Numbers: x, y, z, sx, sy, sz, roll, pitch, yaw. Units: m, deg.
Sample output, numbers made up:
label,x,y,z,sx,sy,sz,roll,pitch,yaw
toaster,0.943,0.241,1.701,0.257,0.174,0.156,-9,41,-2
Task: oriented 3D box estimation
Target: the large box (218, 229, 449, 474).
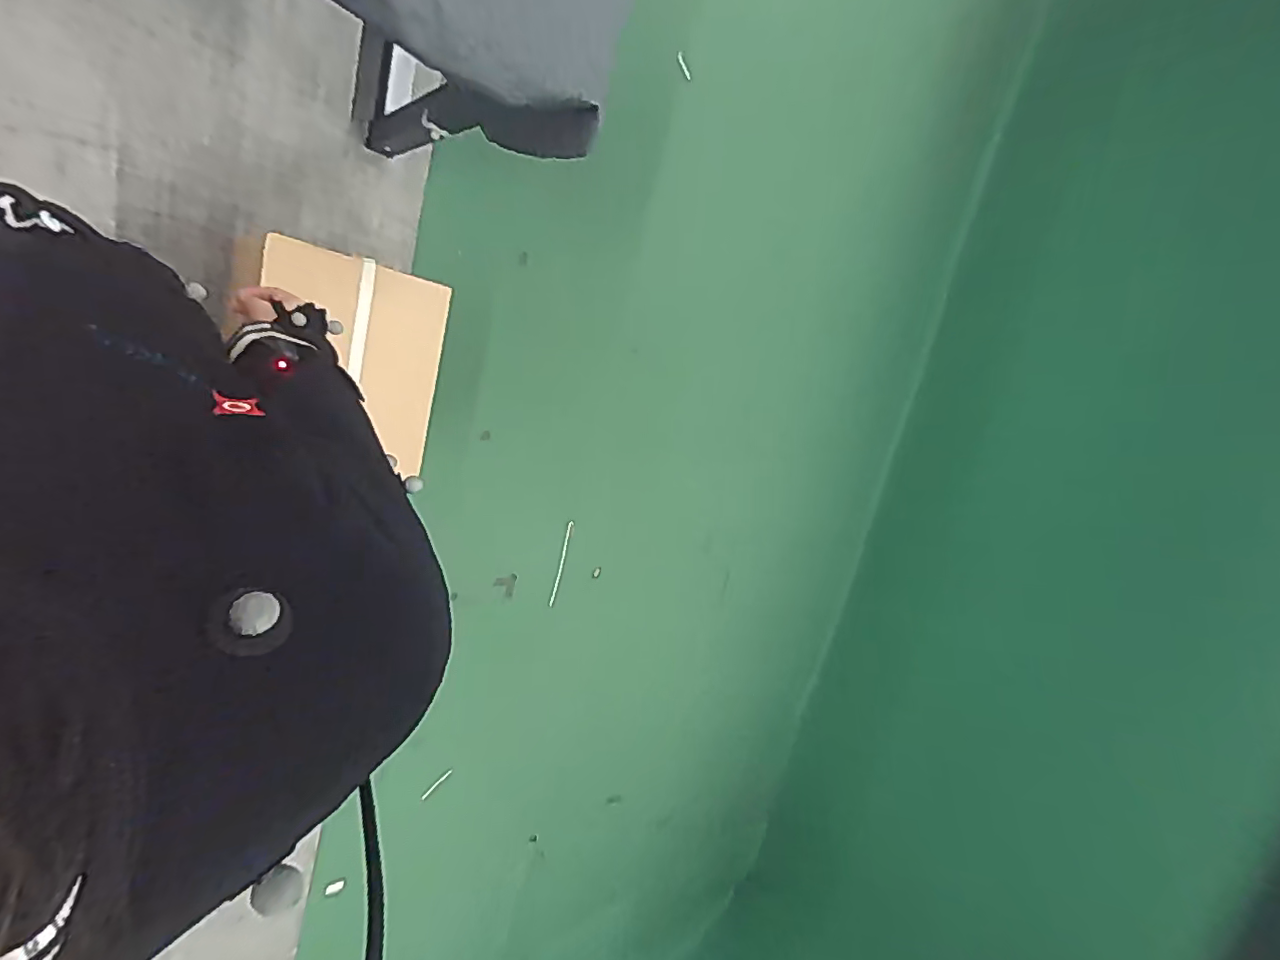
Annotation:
label,x,y,z,sx,sy,sz,roll,pitch,yaw
large box,-0.627,-0.250,1.093,0.320,0.320,0.408,3,105,-45
